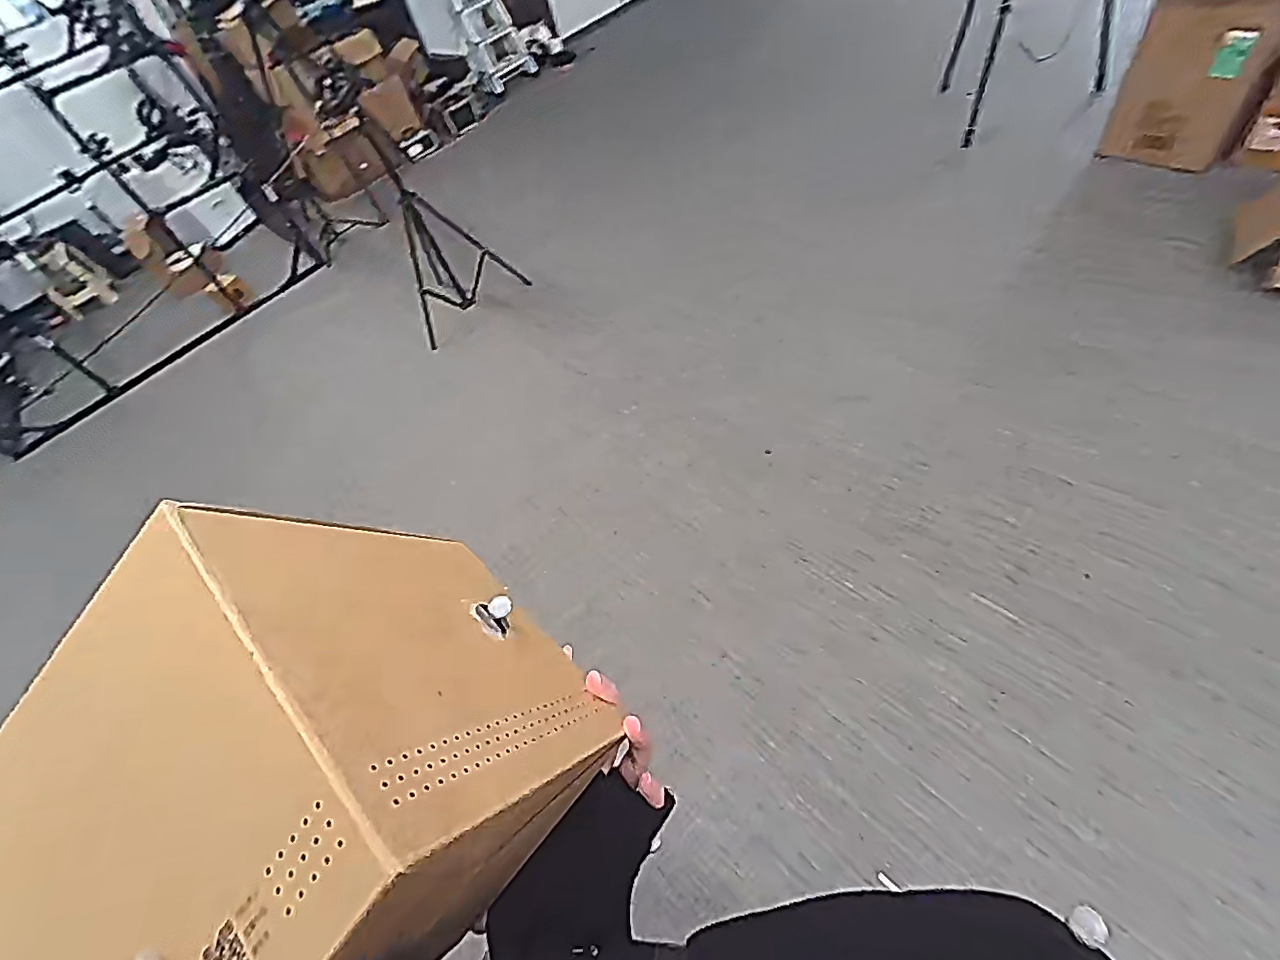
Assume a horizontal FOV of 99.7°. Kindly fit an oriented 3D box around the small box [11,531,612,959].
[{"bbox_3d":[-0.139,0.148,0.273,0.176,0.179,0.168,38,94,24],"label":"small box"}]
